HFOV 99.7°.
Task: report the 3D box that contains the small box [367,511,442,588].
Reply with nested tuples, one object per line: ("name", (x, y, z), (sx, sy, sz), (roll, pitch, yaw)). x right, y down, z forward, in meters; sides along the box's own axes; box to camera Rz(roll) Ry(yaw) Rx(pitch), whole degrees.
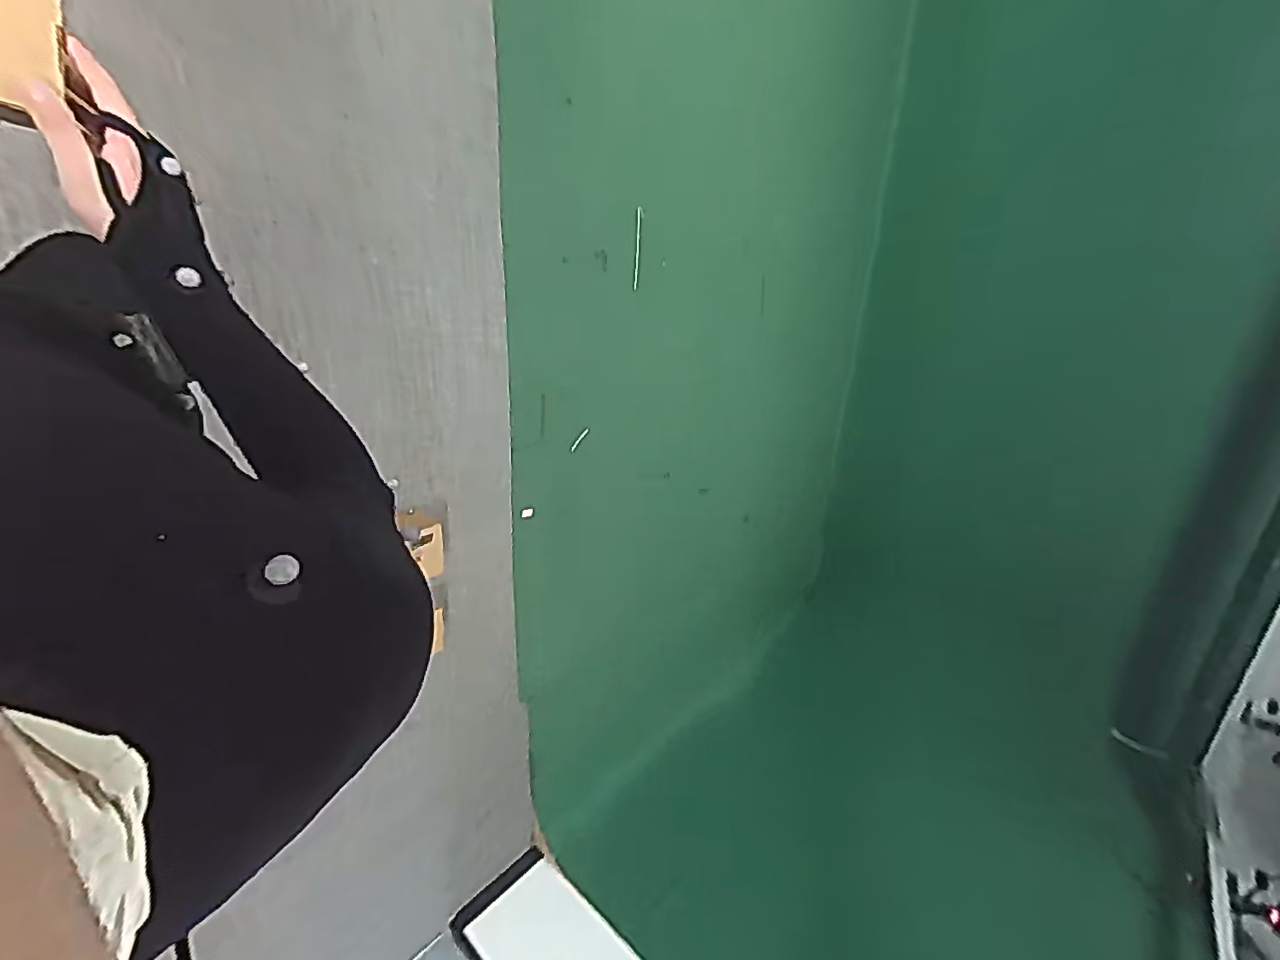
("small box", (-0.745, 0.209, 1.708), (0.168, 0.176, 0.179), (-16, 118, -45))

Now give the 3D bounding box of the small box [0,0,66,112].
("small box", (-0.514, -0.365, 0.353), (0.179, 0.176, 0.168), (-9, 116, -49))

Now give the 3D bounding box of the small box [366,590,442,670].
("small box", (-0.779, 0.486, 1.785), (0.179, 0.176, 0.168), (-14, 116, -47))
